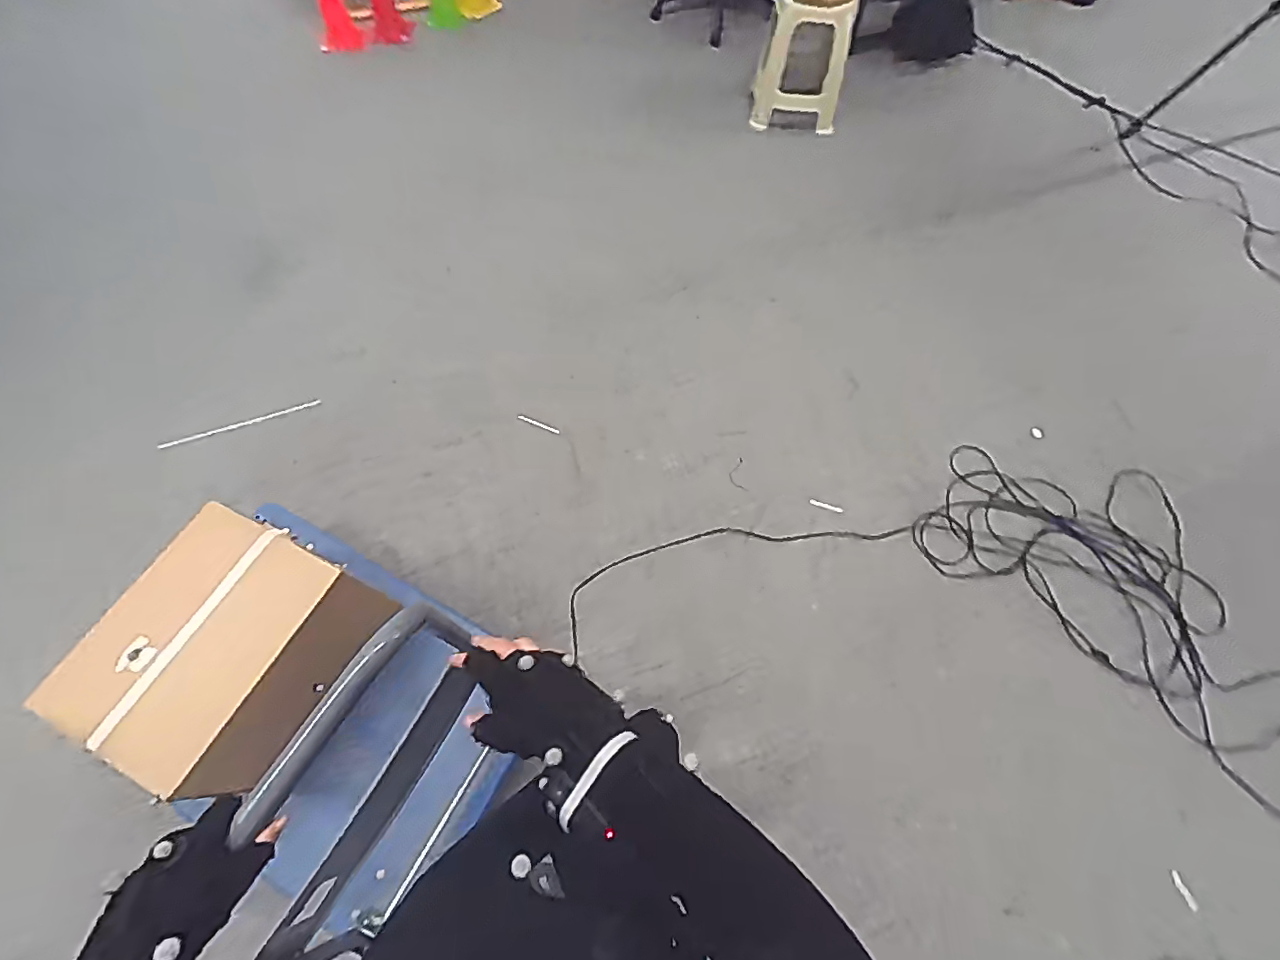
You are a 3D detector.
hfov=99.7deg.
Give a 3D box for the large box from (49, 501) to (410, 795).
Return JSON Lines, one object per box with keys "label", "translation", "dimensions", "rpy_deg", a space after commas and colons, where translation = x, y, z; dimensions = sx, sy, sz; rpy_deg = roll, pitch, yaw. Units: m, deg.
{"label": "large box", "translation": [-0.739, 0.320, 1.058], "dimensions": [0.320, 0.320, 0.408], "rpy_deg": [24, 67, 11]}
